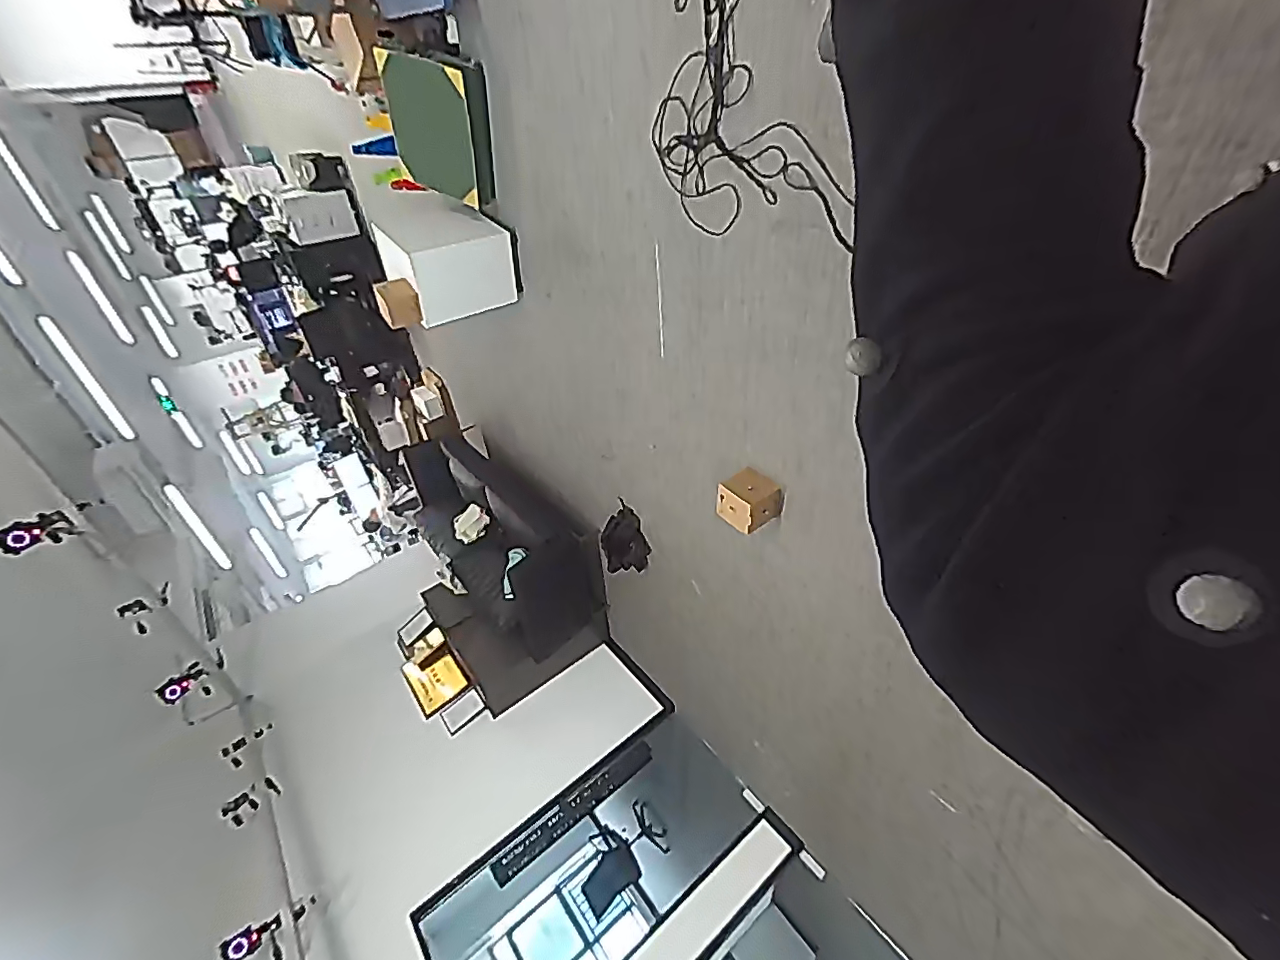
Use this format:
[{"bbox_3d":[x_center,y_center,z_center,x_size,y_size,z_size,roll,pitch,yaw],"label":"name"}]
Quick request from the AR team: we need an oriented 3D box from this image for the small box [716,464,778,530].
[{"bbox_3d":[0.431,0.061,2.179,0.179,0.176,0.168,37,143,37],"label":"small box"}]
